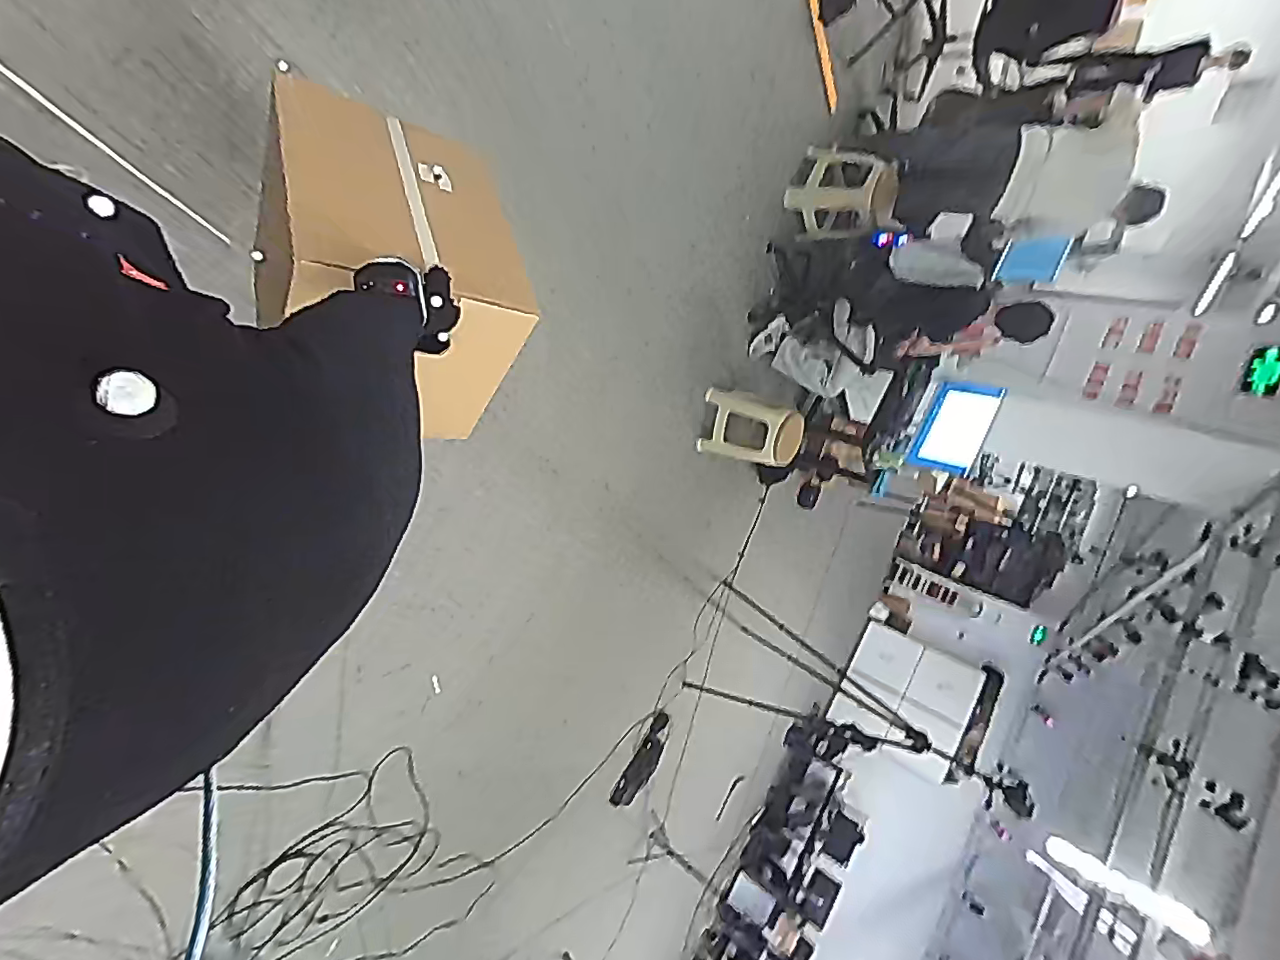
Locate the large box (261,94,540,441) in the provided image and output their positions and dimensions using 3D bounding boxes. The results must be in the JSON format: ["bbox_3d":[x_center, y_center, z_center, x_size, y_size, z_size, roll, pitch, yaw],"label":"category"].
[{"bbox_3d":[-0.415,-0.312,0.890,0.320,0.408,0.320,2,144,-41],"label":"large box"}]
